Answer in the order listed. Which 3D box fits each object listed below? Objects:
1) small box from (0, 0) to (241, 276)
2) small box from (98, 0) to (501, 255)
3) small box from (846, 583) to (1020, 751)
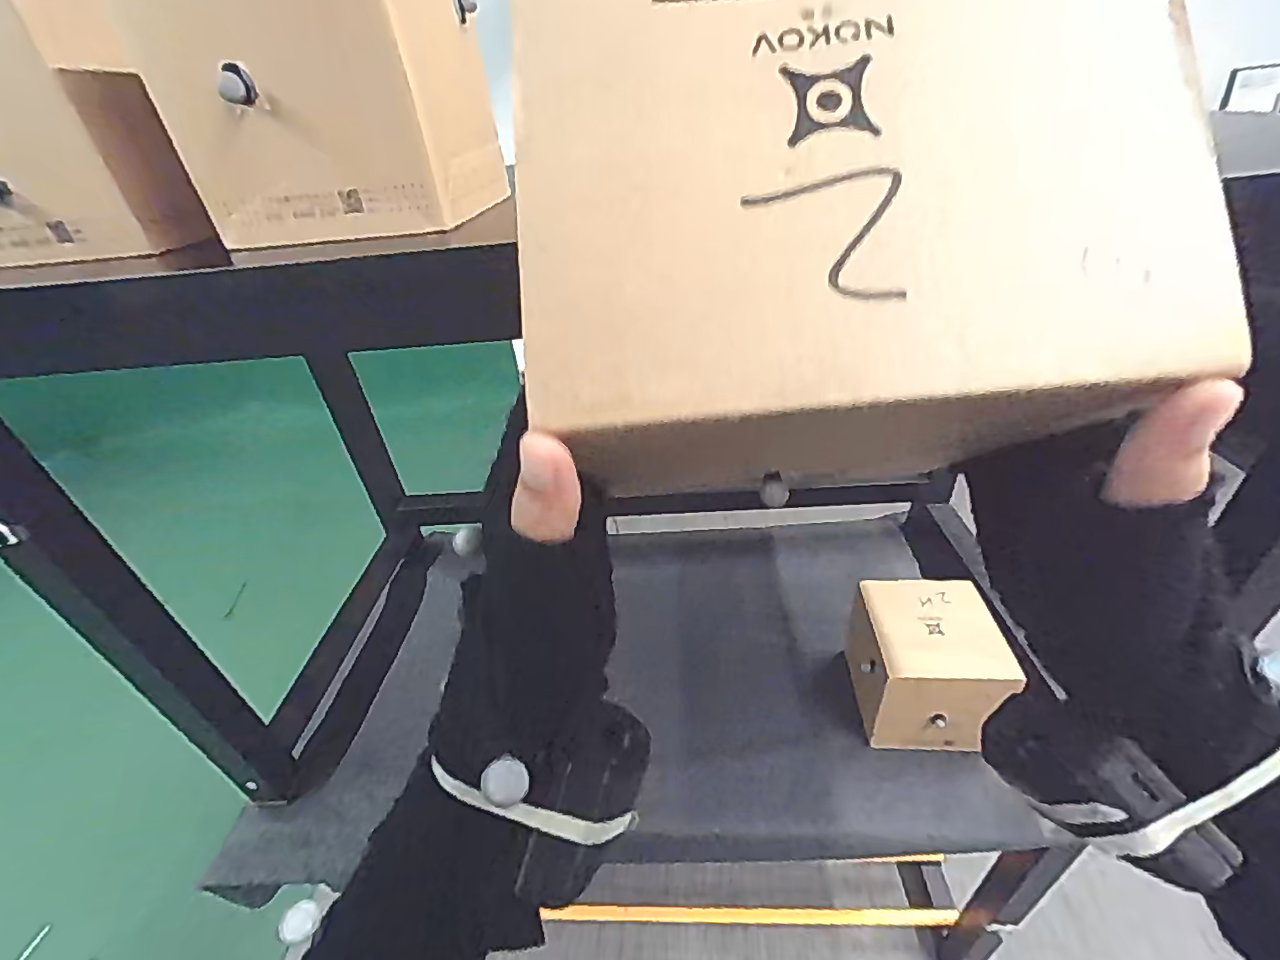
[{"bbox_3d":[-0.441,-0.272,0.436,0.168,0.176,0.179,-3,35,5],"label":"small box"},{"bbox_3d":[-0.218,-0.274,0.406,0.168,0.176,0.179,-3,34,6],"label":"small box"},{"bbox_3d":[0.411,0.272,0.794,0.168,0.176,0.179,-1,34,8],"label":"small box"}]
